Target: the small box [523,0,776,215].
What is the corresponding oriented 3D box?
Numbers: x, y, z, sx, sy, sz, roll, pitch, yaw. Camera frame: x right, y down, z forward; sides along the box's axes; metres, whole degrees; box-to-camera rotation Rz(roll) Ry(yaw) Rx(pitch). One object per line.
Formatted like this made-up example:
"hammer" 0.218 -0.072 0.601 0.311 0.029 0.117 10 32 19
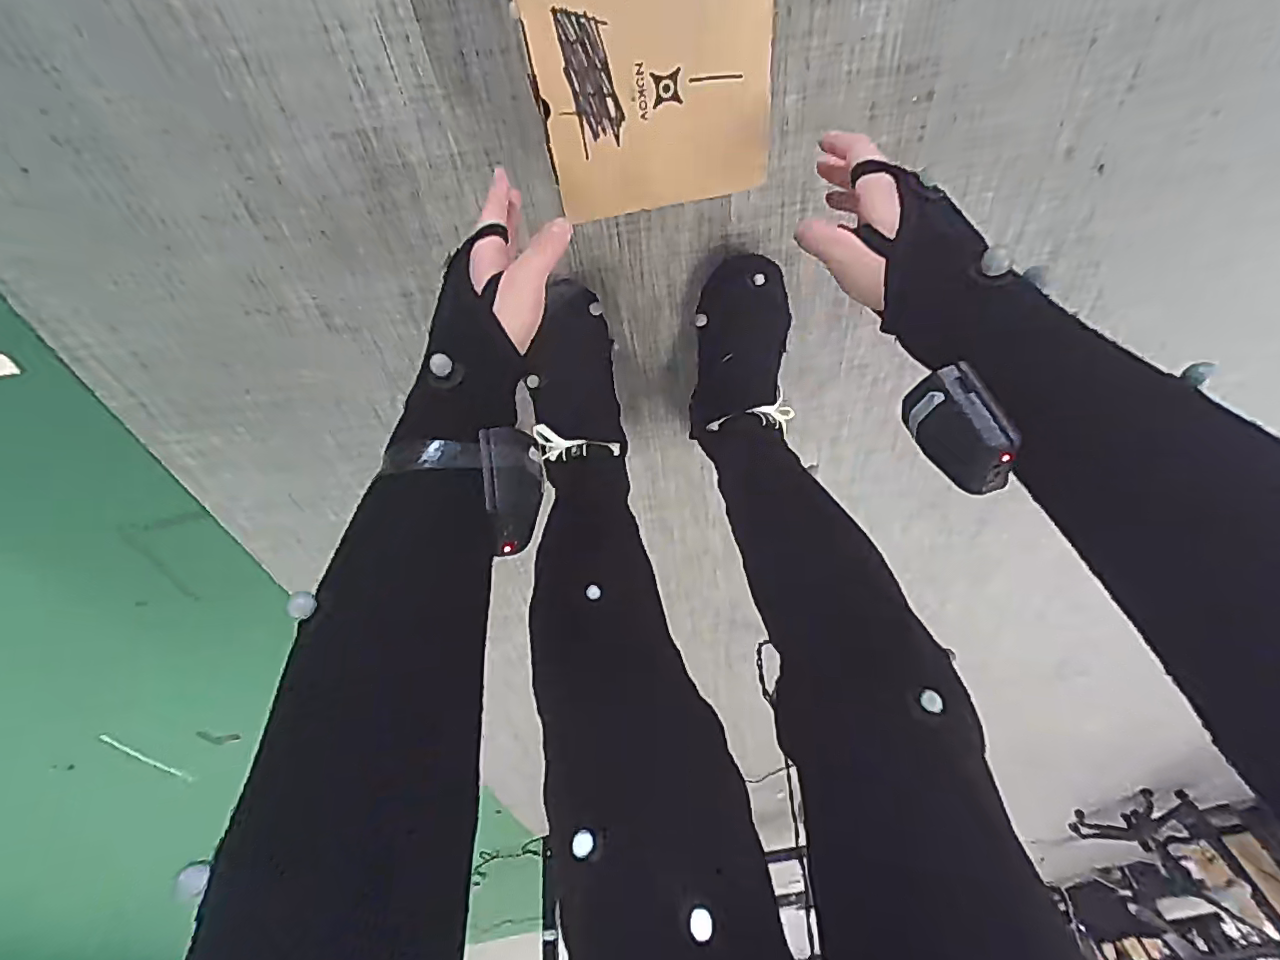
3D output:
"small box" 0.005 -0.349 0.460 0.179 0.176 0.168 -11 134 -1
